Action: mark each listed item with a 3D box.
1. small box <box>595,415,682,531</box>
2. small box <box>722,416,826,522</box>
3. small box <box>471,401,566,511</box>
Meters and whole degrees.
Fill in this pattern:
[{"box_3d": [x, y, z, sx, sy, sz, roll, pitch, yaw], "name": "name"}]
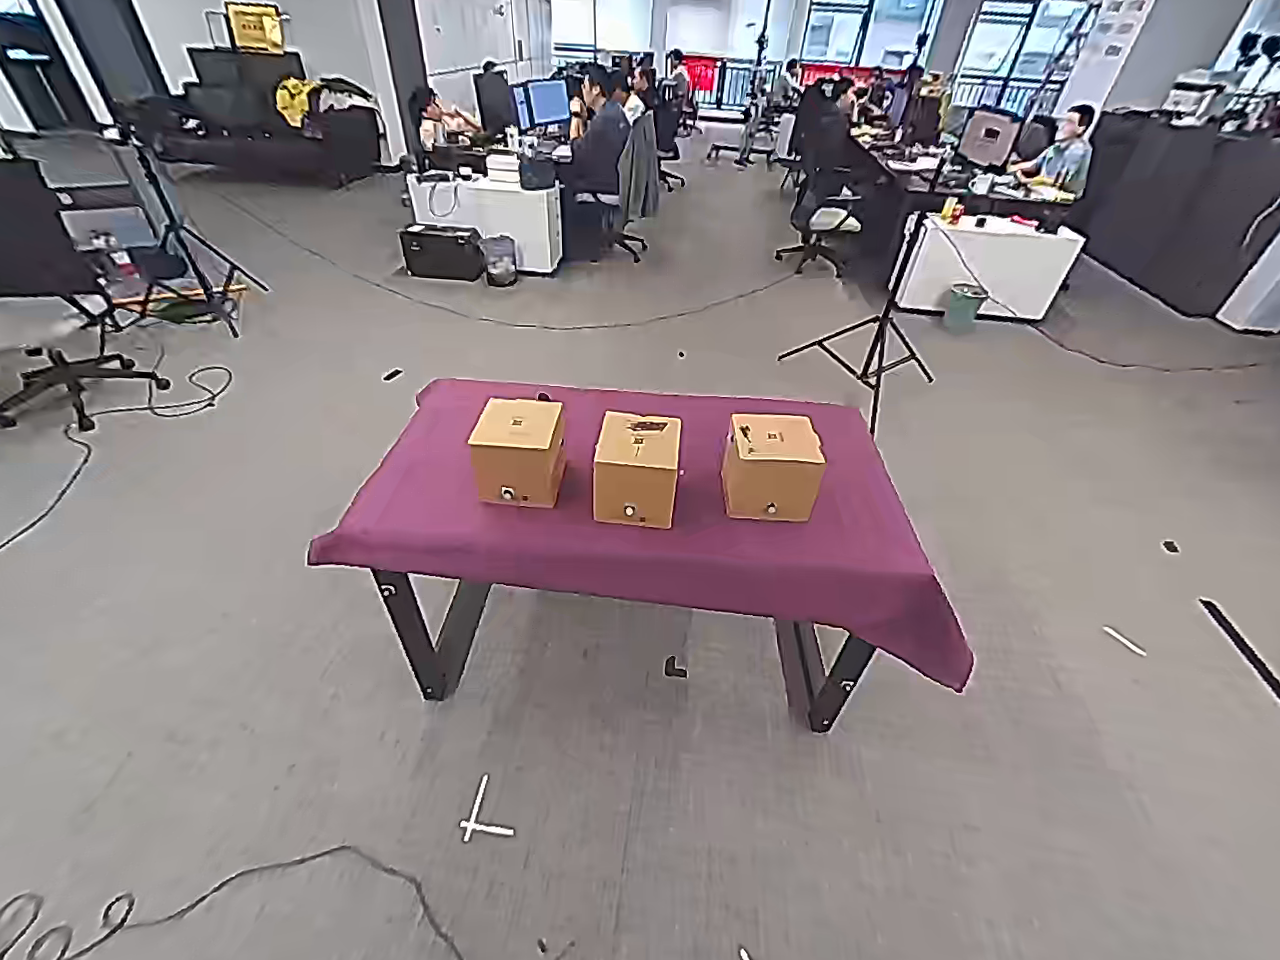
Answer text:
[{"box_3d": [-0.003, -0.017, 1.160, 0.168, 0.176, 0.179, 5, 40, 3], "name": "small box"}, {"box_3d": [0.285, -0.022, 1.188, 0.179, 0.176, 0.168, 3, 39, -1], "name": "small box"}, {"box_3d": [-0.257, -0.054, 1.189, 0.168, 0.176, 0.179, 3, 40, 1], "name": "small box"}]
